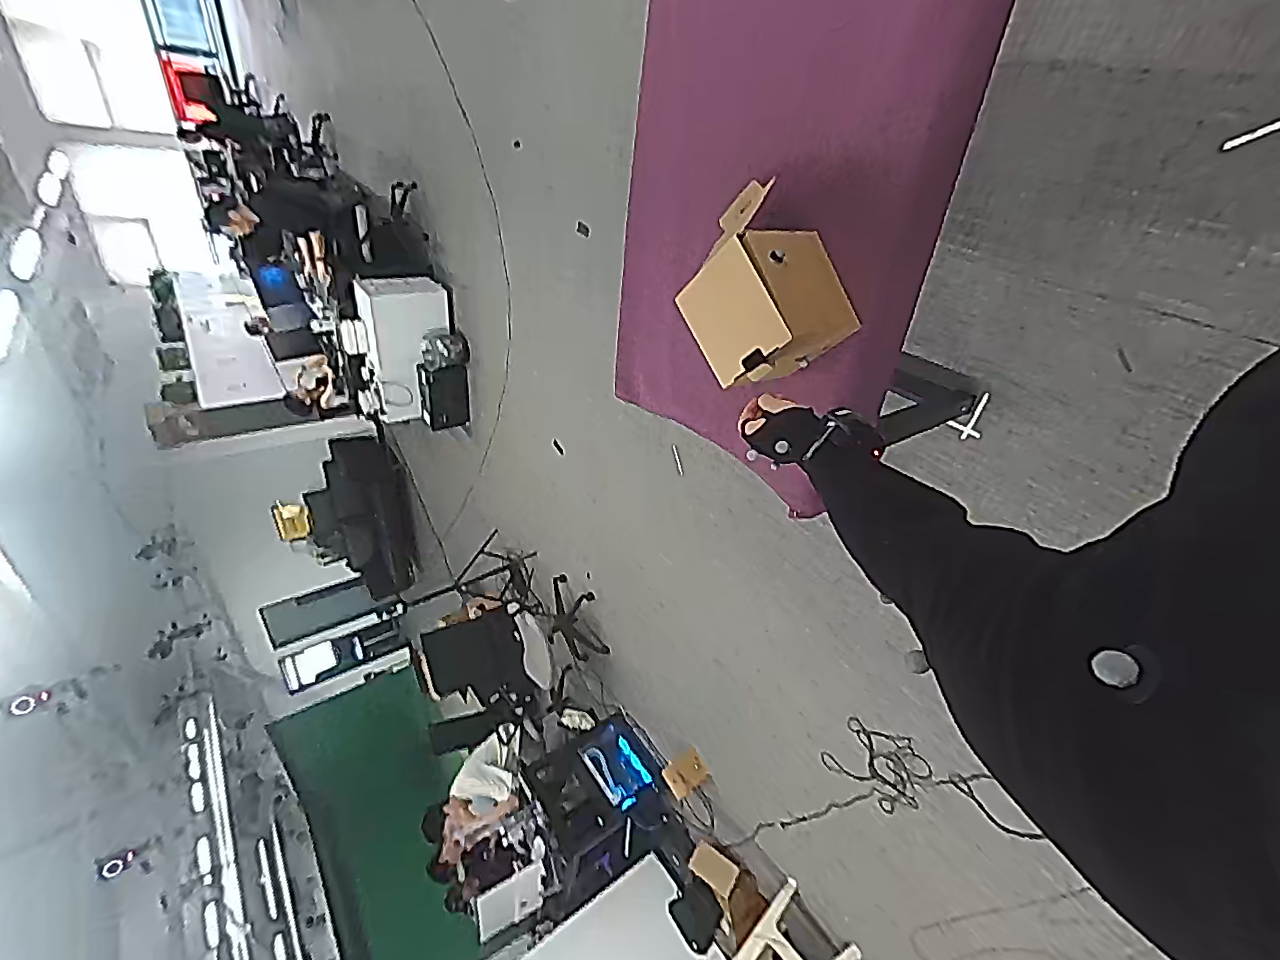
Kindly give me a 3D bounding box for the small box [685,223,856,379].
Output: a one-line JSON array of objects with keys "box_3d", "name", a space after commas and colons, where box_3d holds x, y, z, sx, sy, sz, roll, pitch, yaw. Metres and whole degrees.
[{"box_3d": [0.207, -0.282, 0.866, 0.168, 0.176, 0.179, -32, 78, 57], "name": "small box"}]
